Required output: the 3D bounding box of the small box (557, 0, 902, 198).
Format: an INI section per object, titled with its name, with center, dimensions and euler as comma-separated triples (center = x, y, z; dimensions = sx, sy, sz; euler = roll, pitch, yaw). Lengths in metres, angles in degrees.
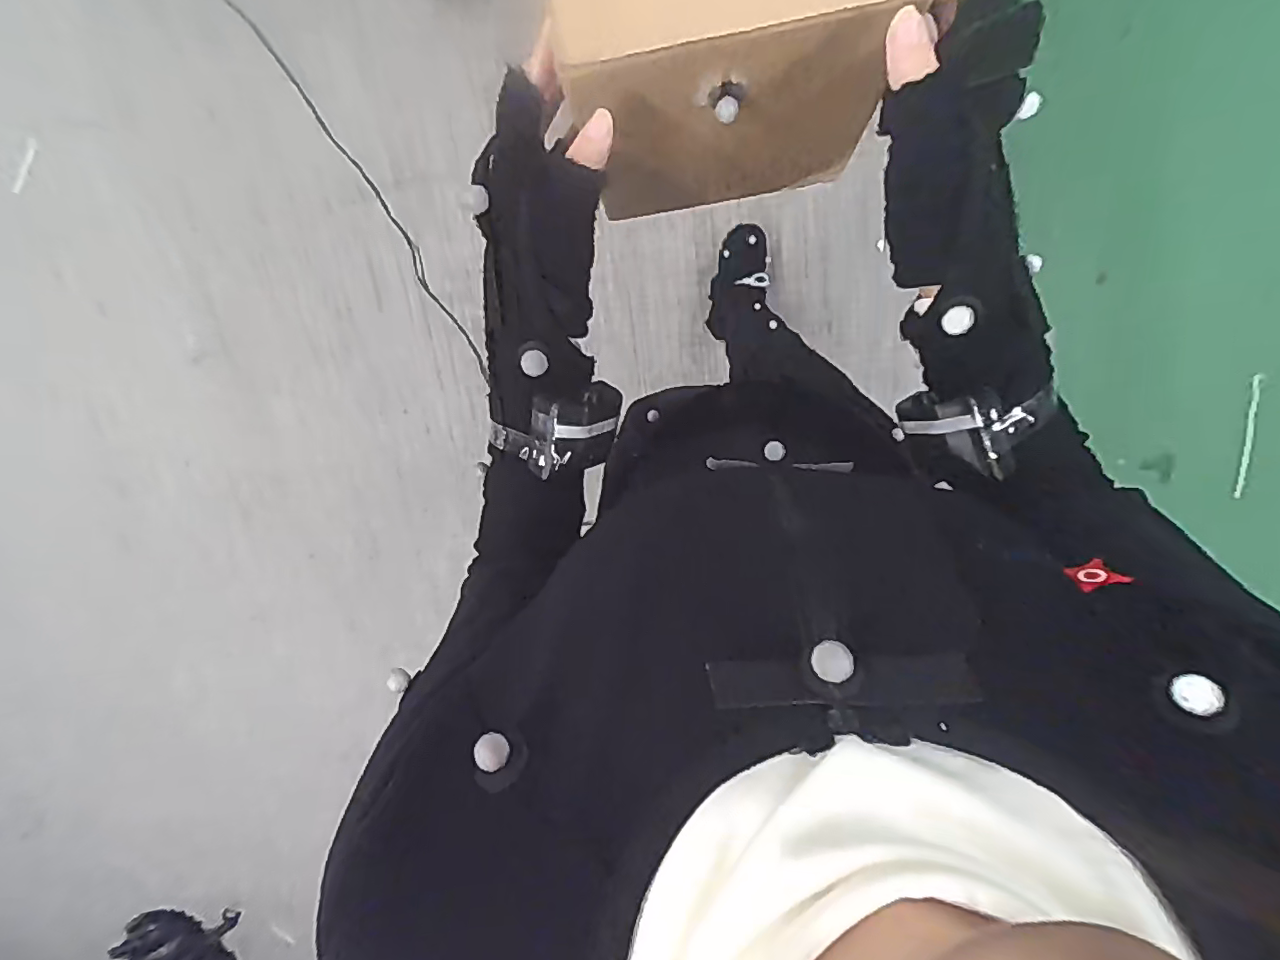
[small box]
center = 0.044, -0.302, 0.334
dimensions = 0.179, 0.176, 0.168
euler = -8, 92, 4
